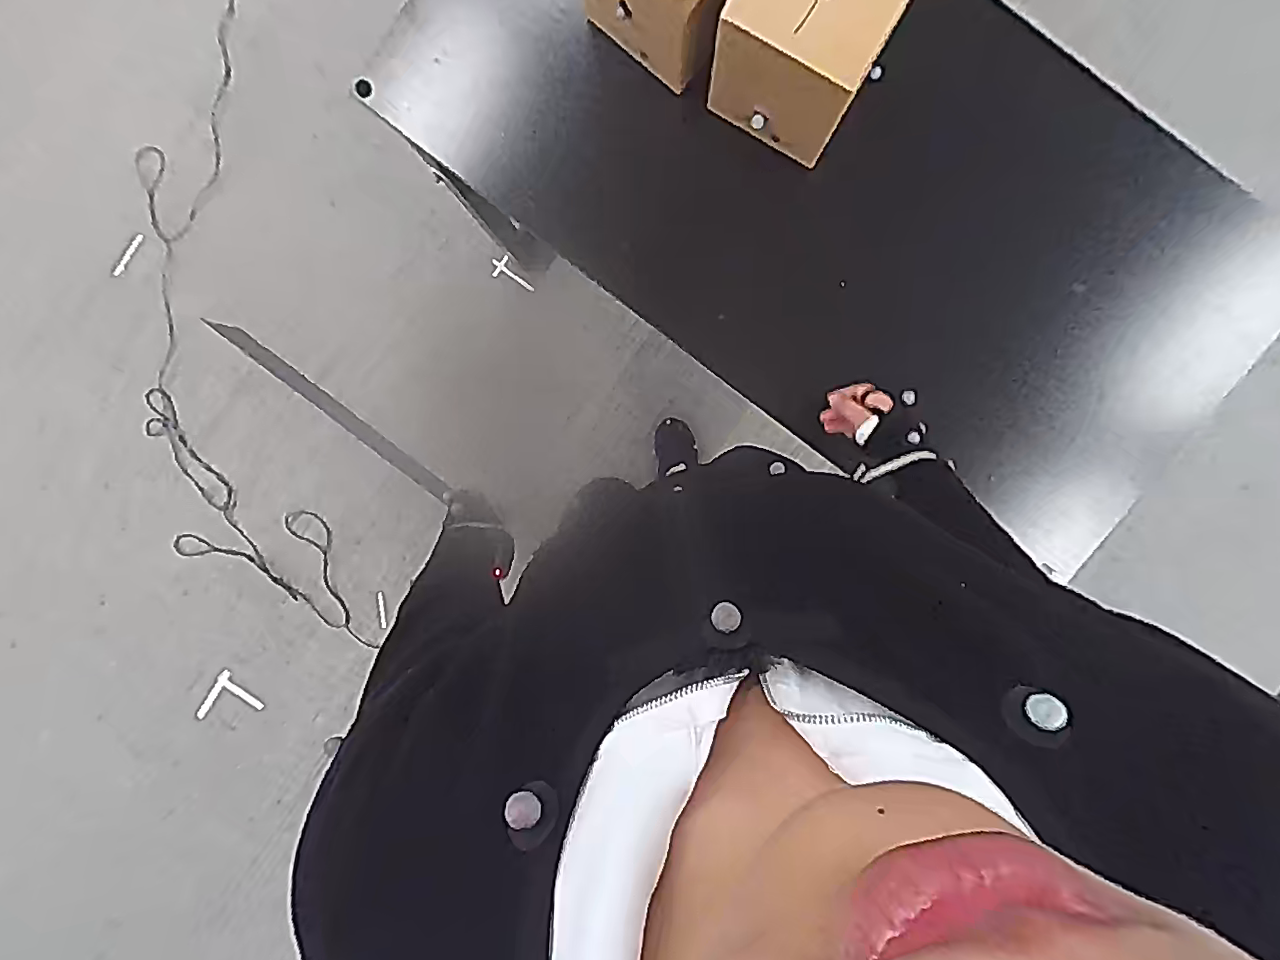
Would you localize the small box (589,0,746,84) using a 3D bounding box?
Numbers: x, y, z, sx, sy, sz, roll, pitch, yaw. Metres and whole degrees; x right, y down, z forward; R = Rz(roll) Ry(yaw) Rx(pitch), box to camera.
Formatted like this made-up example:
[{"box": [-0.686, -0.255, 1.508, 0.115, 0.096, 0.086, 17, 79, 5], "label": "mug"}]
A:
[{"box": [0.037, -0.632, 0.640, 0.168, 0.176, 0.179, 39, 95, -1], "label": "small box"}]

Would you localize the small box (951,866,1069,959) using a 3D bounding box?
[{"box": [0.979, 1.208, 1.456, 0.168, 0.176, 0.179, 36, 95, -1], "label": "small box"}]
